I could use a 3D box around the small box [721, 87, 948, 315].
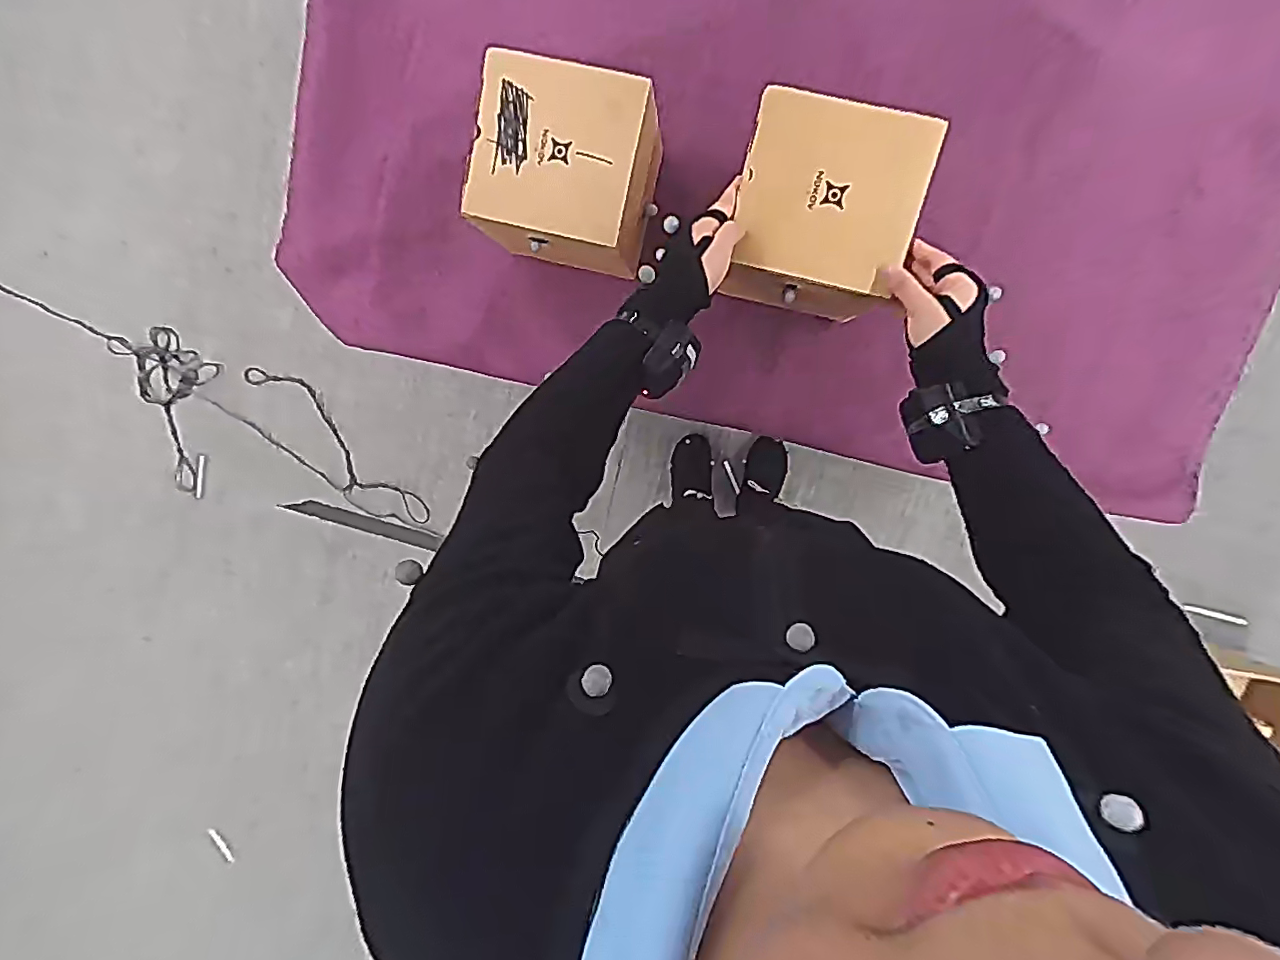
[{"bbox_3d":[0.196,-0.289,0.602,0.179,0.176,0.168,15,101,5],"label":"small box"}]

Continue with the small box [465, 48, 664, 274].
[{"bbox_3d":[-0.078,-0.356,0.638,0.179,0.176,0.168,14,101,4],"label":"small box"}]

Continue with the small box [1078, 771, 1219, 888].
[{"bbox_3d":[1.270,0.872,1.367,0.179,0.176,0.168,11,101,4],"label":"small box"}]
